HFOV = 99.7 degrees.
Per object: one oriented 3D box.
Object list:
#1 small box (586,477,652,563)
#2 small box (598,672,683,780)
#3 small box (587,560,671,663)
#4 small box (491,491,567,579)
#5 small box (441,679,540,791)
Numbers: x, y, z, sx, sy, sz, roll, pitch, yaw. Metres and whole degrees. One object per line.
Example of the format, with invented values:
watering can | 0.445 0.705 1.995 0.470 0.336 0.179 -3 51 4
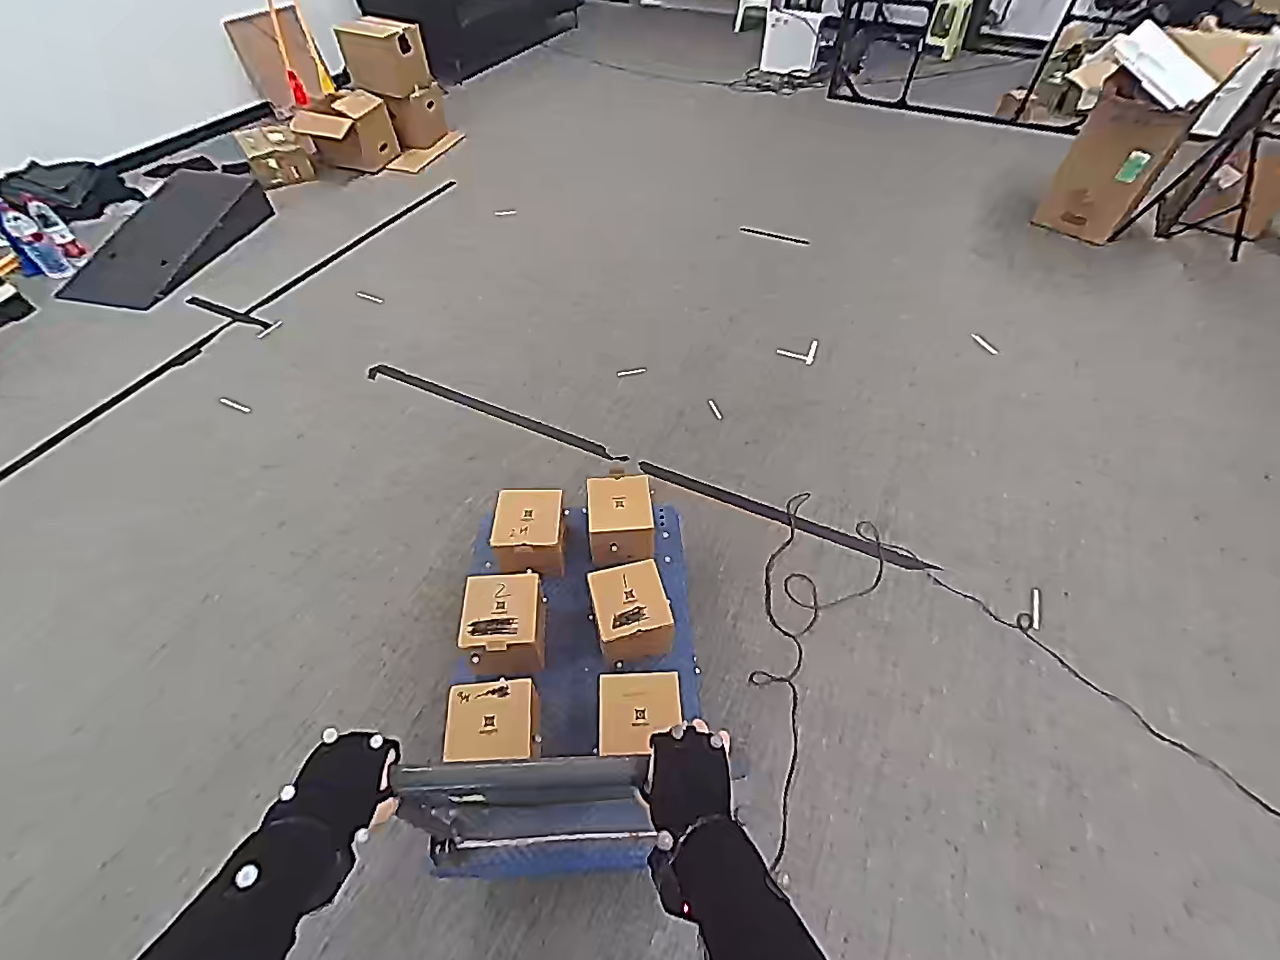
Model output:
small box | -0.057 0.114 1.474 0.168 0.176 0.179 -4 51 -5
small box | -0.001 0.523 1.141 0.168 0.176 0.179 -1 50 -3
small box | -0.027 0.324 1.302 0.168 0.176 0.179 -11 51 -10
small box | -0.287 0.147 1.438 0.168 0.176 0.179 0 52 -2
small box | -0.299 0.533 1.122 0.168 0.176 0.179 -3 51 -5
